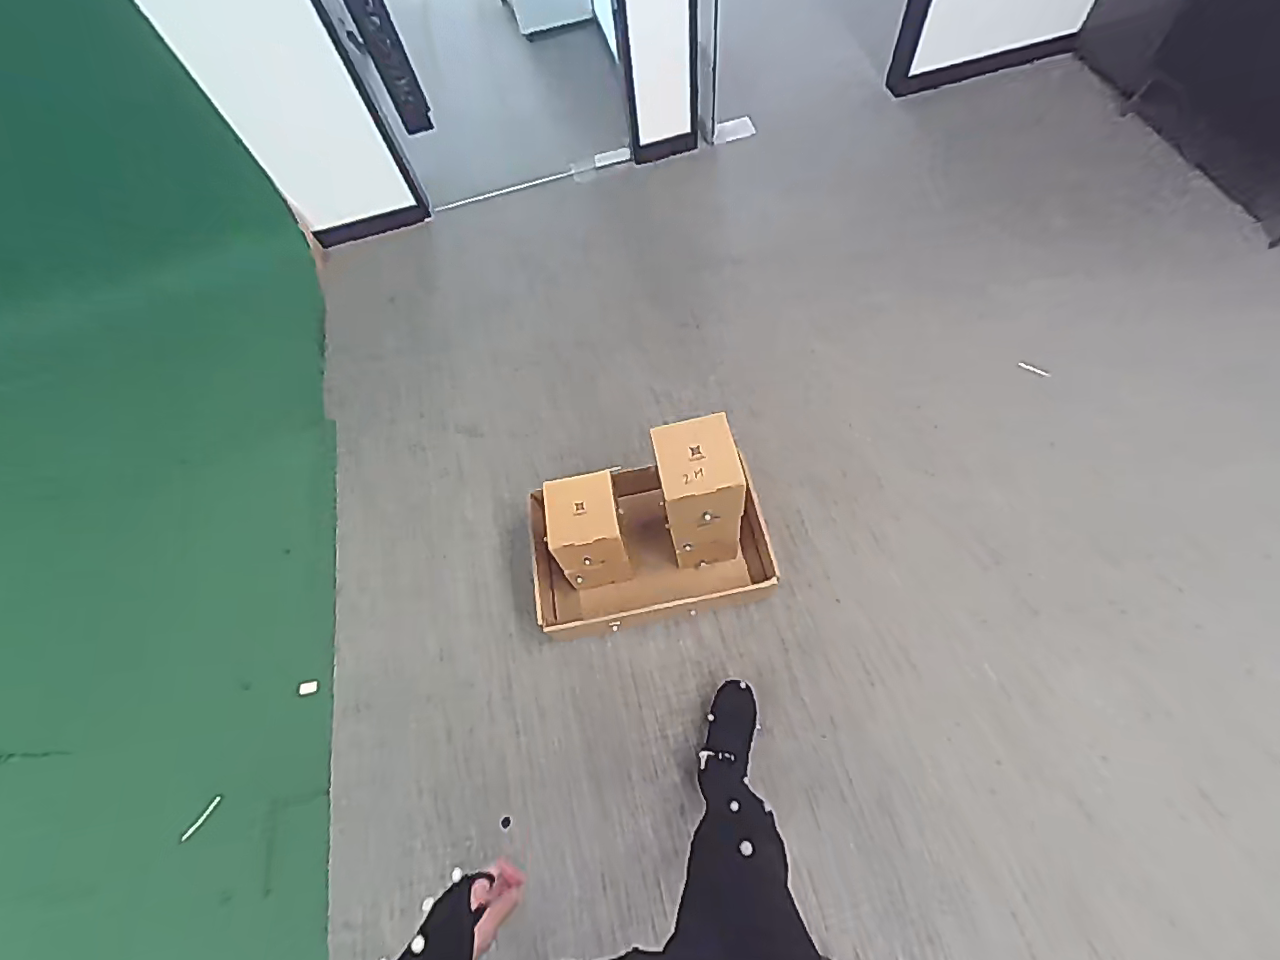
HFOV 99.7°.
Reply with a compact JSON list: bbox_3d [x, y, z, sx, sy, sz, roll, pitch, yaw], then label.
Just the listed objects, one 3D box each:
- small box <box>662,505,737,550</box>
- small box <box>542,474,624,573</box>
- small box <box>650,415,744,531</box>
[{"bbox_3d":[0.140,0.060,1.319,0.168,0.176,0.179,-10,62,2],"label":"small box"},{"bbox_3d":[-0.138,0.110,1.324,0.168,0.176,0.179,-11,62,-1],"label":"small box"},{"bbox_3d":[0.120,-0.011,1.171,0.168,0.176,0.179,-12,63,2],"label":"small box"}]
